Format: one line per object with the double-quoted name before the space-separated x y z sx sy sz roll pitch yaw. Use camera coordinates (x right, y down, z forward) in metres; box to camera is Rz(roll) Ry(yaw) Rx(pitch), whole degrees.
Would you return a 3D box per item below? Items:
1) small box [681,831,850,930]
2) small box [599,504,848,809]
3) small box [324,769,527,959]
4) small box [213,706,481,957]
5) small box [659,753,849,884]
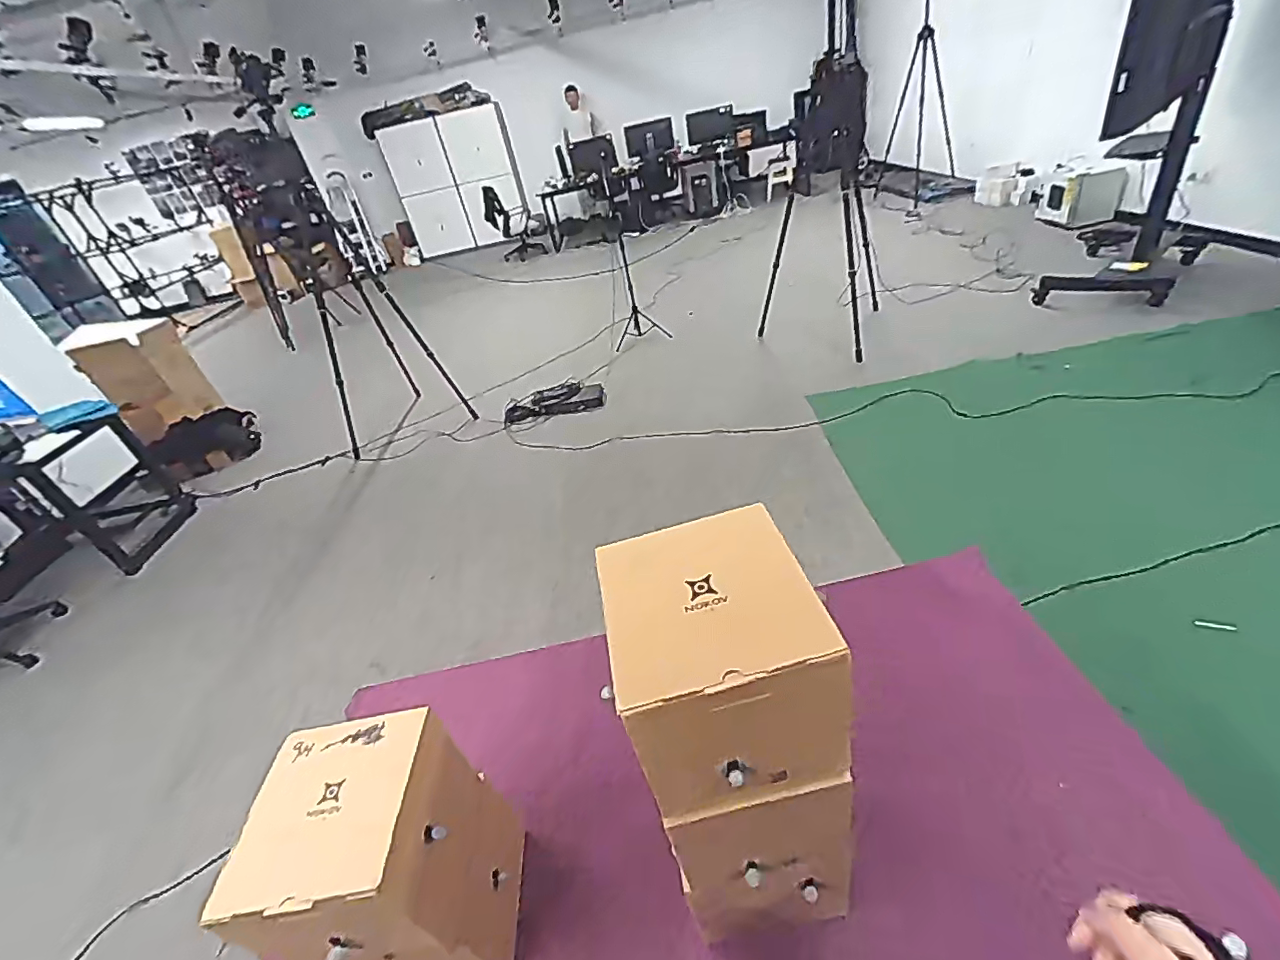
"small box" 0.139 0.416 0.667 0.179 0.176 0.168 -13 35 1
"small box" 0.068 0.154 0.487 0.168 0.176 0.179 -16 36 -1
"small box" -0.250 0.504 0.682 0.168 0.176 0.179 -12 36 3
"small box" -0.286 0.379 0.581 0.168 0.176 0.179 -11 36 3
"small box" 0.104 0.285 0.575 0.168 0.176 0.179 -15 36 1
